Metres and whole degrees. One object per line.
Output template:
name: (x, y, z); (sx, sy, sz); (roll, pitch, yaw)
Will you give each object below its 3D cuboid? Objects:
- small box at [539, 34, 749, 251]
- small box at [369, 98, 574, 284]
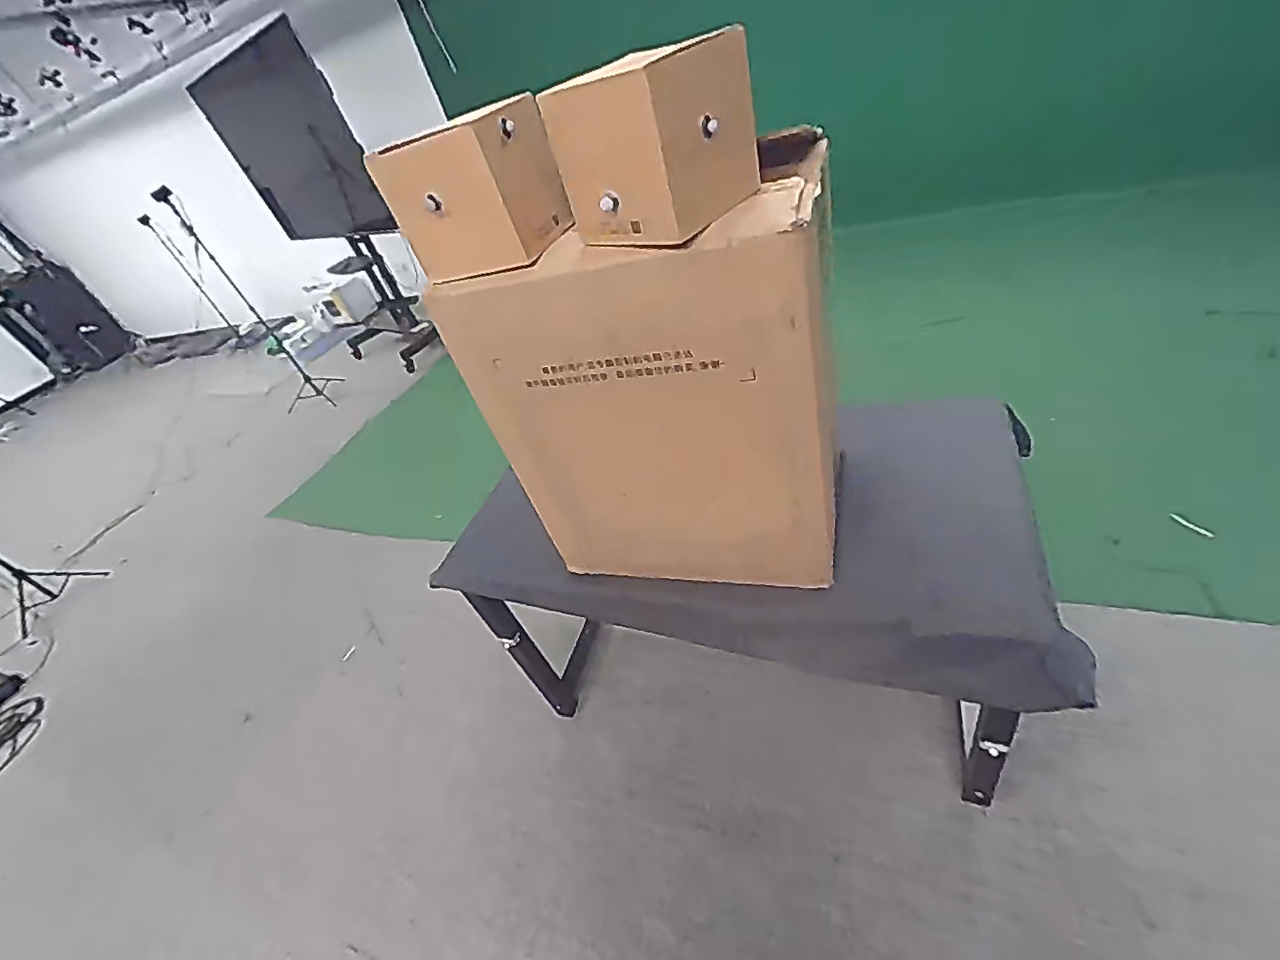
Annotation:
small box: (0.017, -0.396, 0.649); (0.168, 0.176, 0.179); (20, 54, 39)
small box: (-0.222, -0.393, 0.754); (0.179, 0.176, 0.168); (-2, 43, 25)
